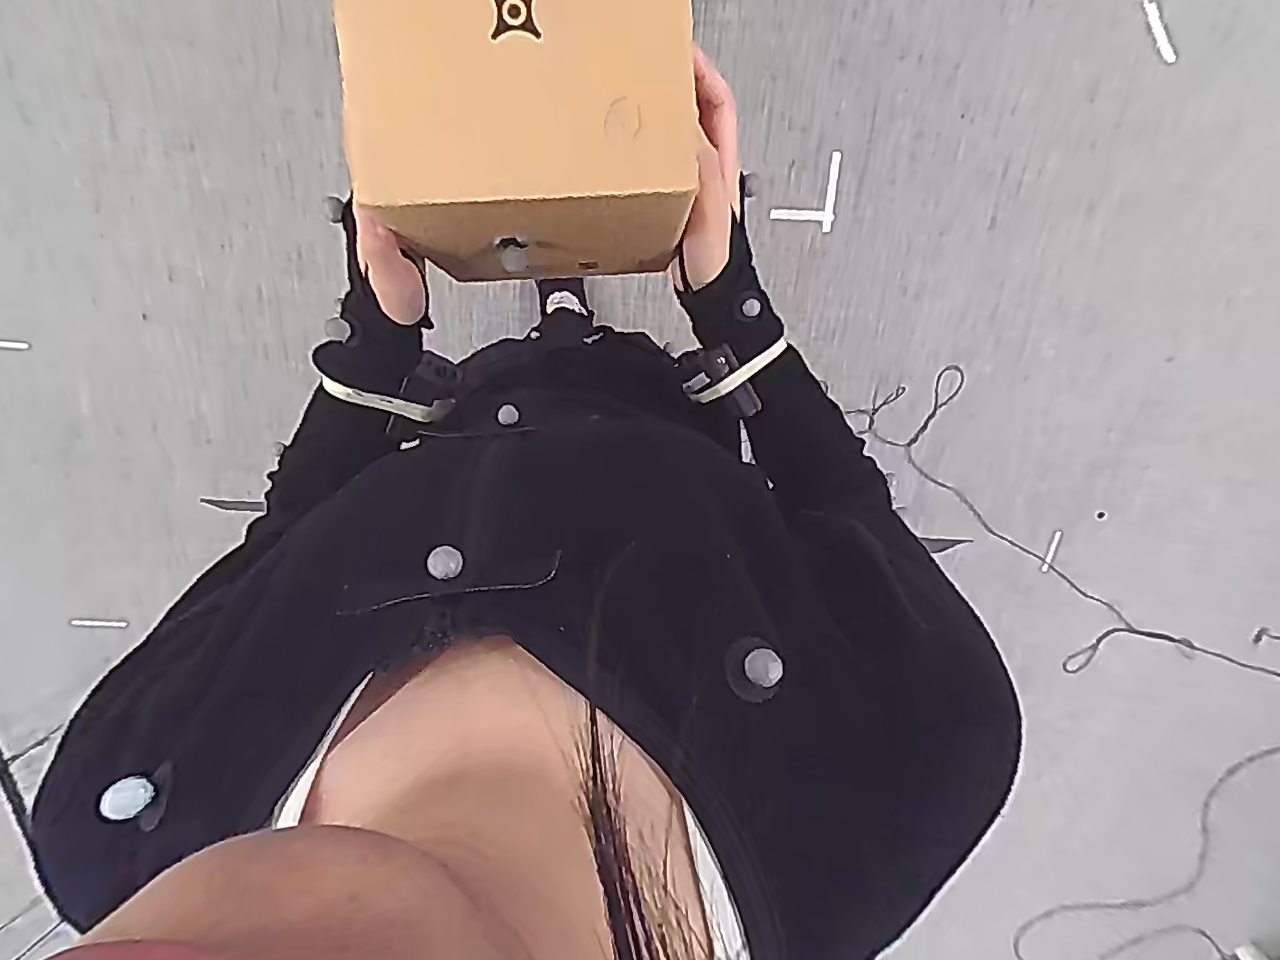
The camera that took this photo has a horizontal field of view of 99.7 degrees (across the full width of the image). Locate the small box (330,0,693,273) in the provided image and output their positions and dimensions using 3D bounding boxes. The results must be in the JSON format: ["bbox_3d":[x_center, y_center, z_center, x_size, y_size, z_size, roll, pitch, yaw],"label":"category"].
[{"bbox_3d":[-0.061,-0.232,0.326,0.168,0.176,0.179,-4,97,-2],"label":"small box"}]
